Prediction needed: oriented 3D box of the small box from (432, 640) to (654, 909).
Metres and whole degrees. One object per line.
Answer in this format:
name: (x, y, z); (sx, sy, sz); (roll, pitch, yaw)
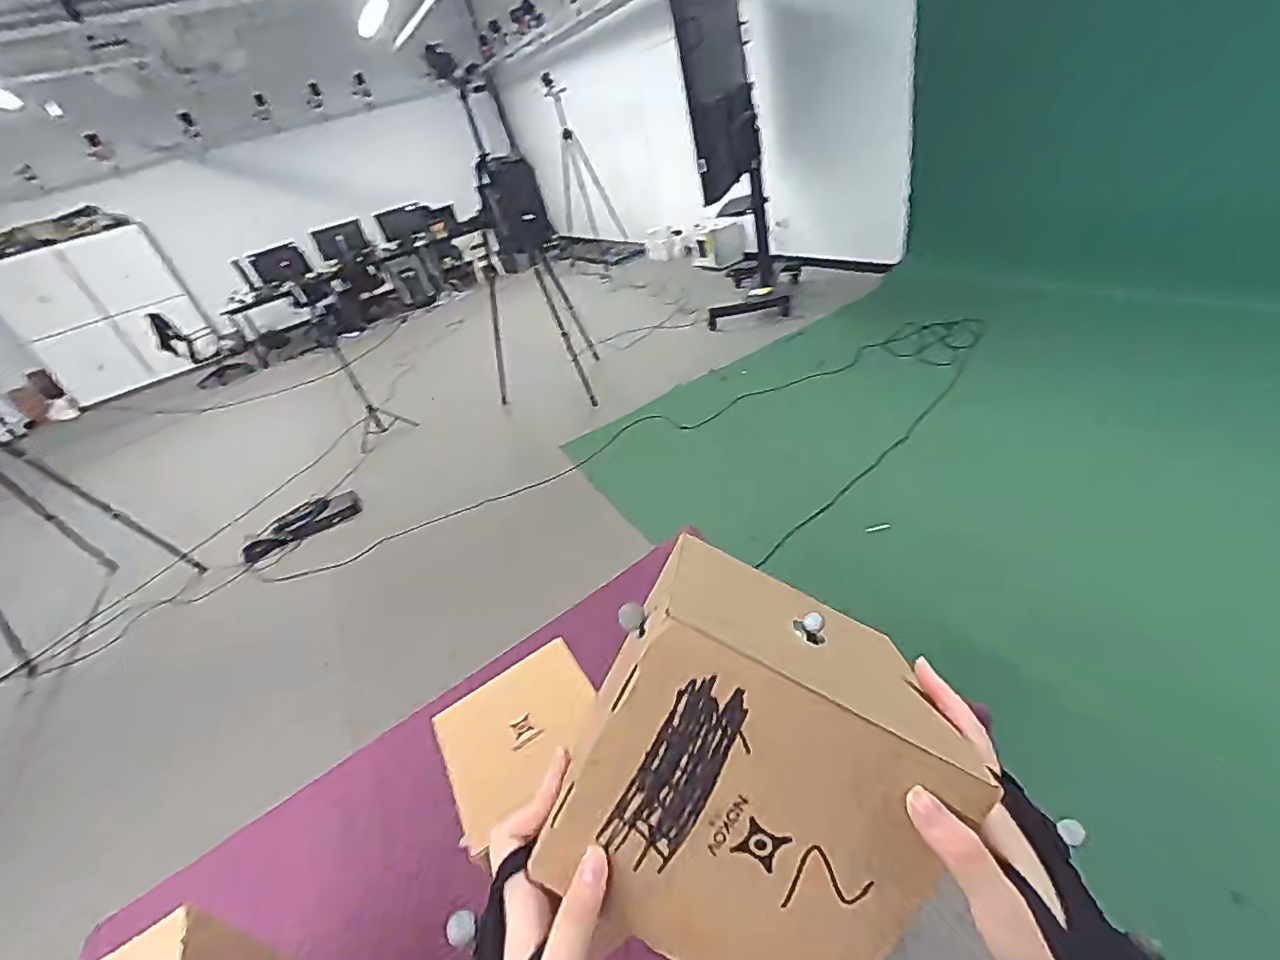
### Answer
small box: (-0.107, 0.329, 0.616); (0.168, 0.176, 0.179); (-30, 37, -18)

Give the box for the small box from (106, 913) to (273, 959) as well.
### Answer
small box: (-0.432, 0.534, 0.460); (0.179, 0.176, 0.168); (-30, 37, -18)

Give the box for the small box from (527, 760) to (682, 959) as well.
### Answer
small box: (-0.061, 0.462, 0.699); (0.179, 0.176, 0.168); (-30, 36, -19)
